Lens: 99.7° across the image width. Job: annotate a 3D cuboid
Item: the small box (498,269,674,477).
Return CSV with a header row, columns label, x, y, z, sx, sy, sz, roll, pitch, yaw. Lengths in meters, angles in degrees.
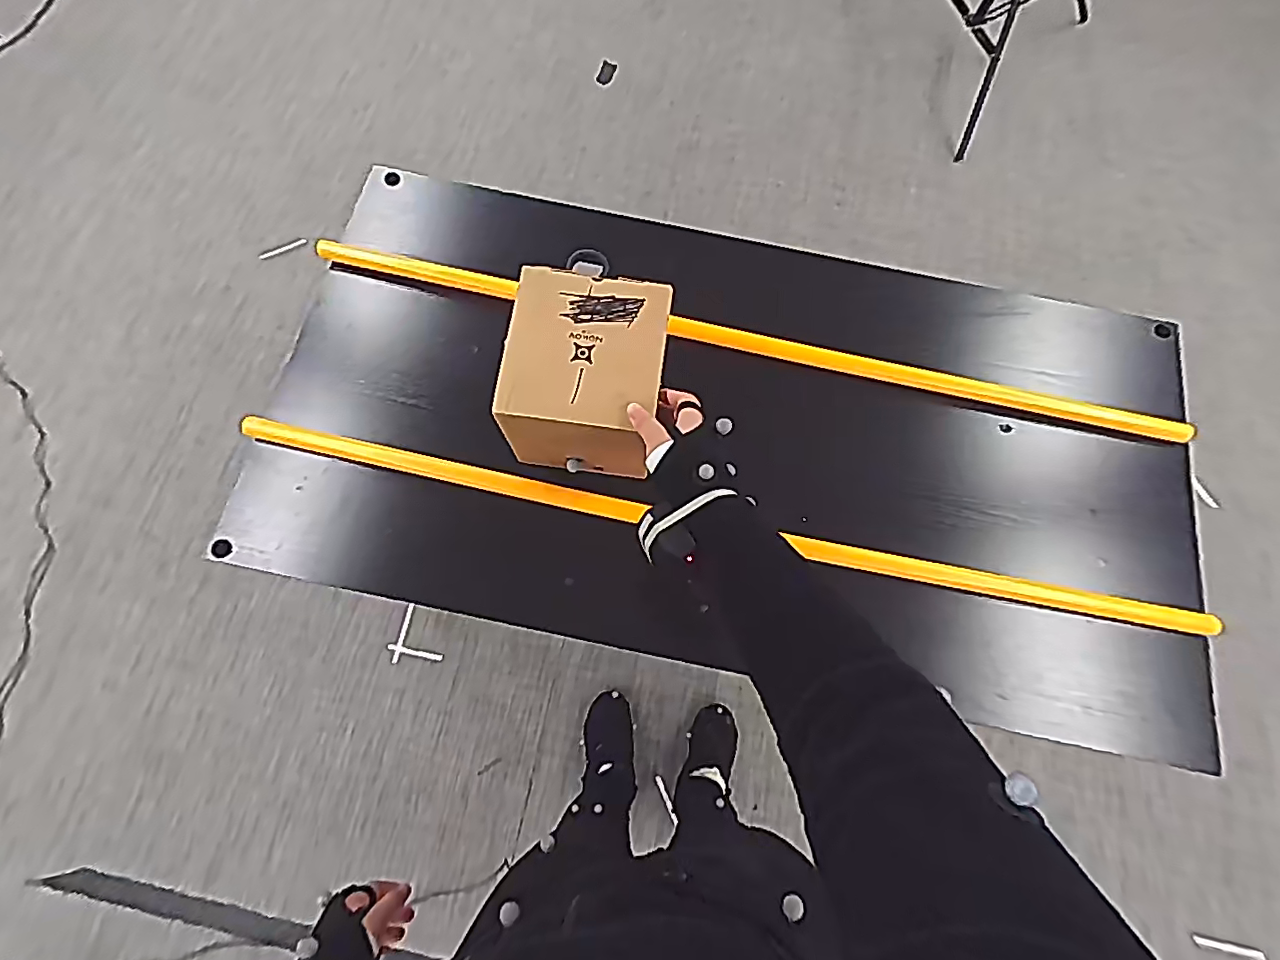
label,x,y,z,sx,sy,sz,roll,pitch,yaw
small box,-0.057,-0.118,0.648,0.168,0.176,0.179,7,74,0
